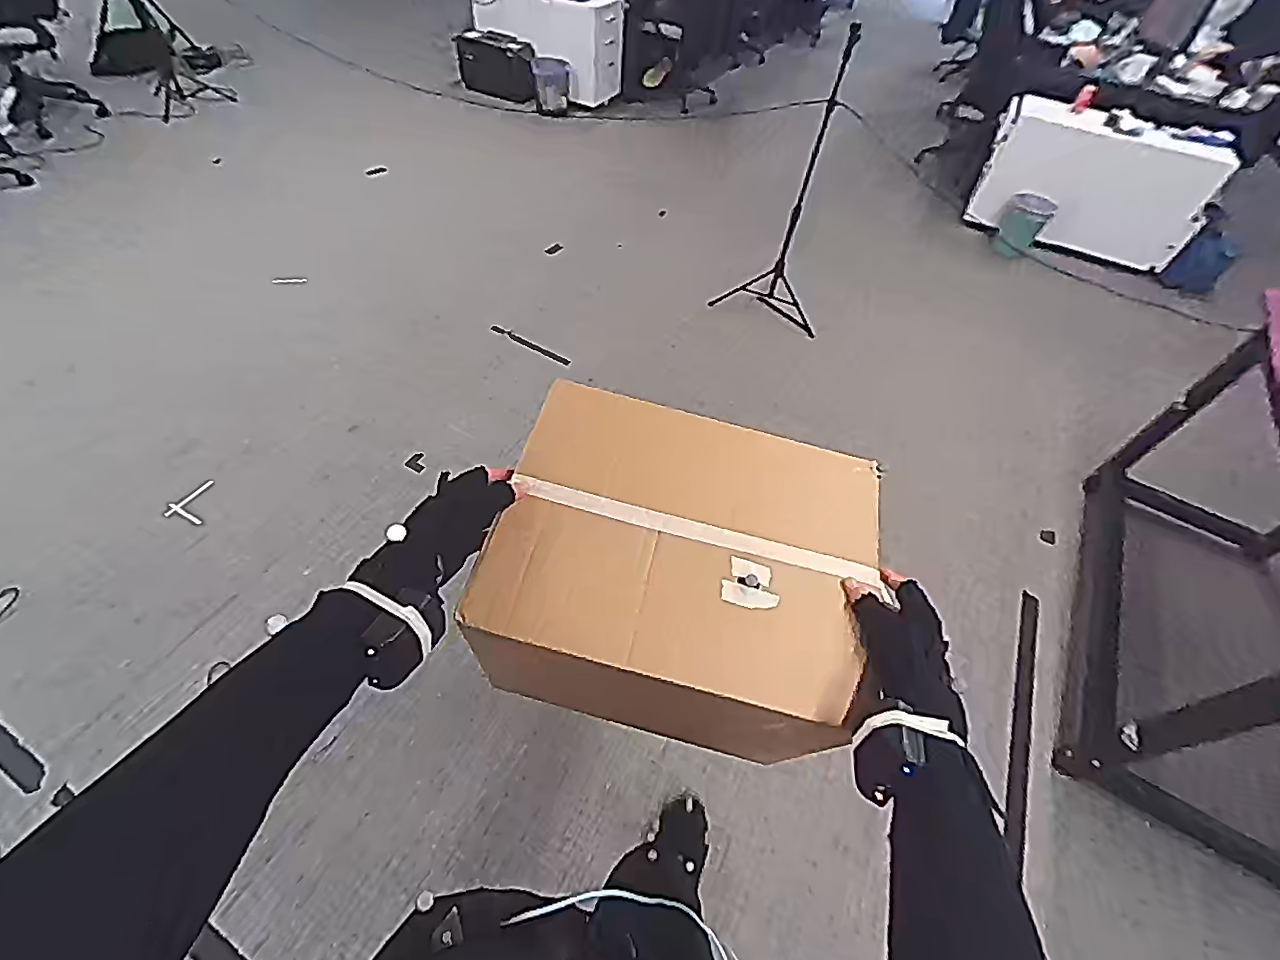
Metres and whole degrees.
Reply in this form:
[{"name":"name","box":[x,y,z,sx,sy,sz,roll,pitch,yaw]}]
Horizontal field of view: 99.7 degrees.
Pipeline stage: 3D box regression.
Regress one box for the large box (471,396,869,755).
[{"name":"large box","box":[0.038,0.142,0.720,0.408,0.320,0.320,15,59,1]}]
